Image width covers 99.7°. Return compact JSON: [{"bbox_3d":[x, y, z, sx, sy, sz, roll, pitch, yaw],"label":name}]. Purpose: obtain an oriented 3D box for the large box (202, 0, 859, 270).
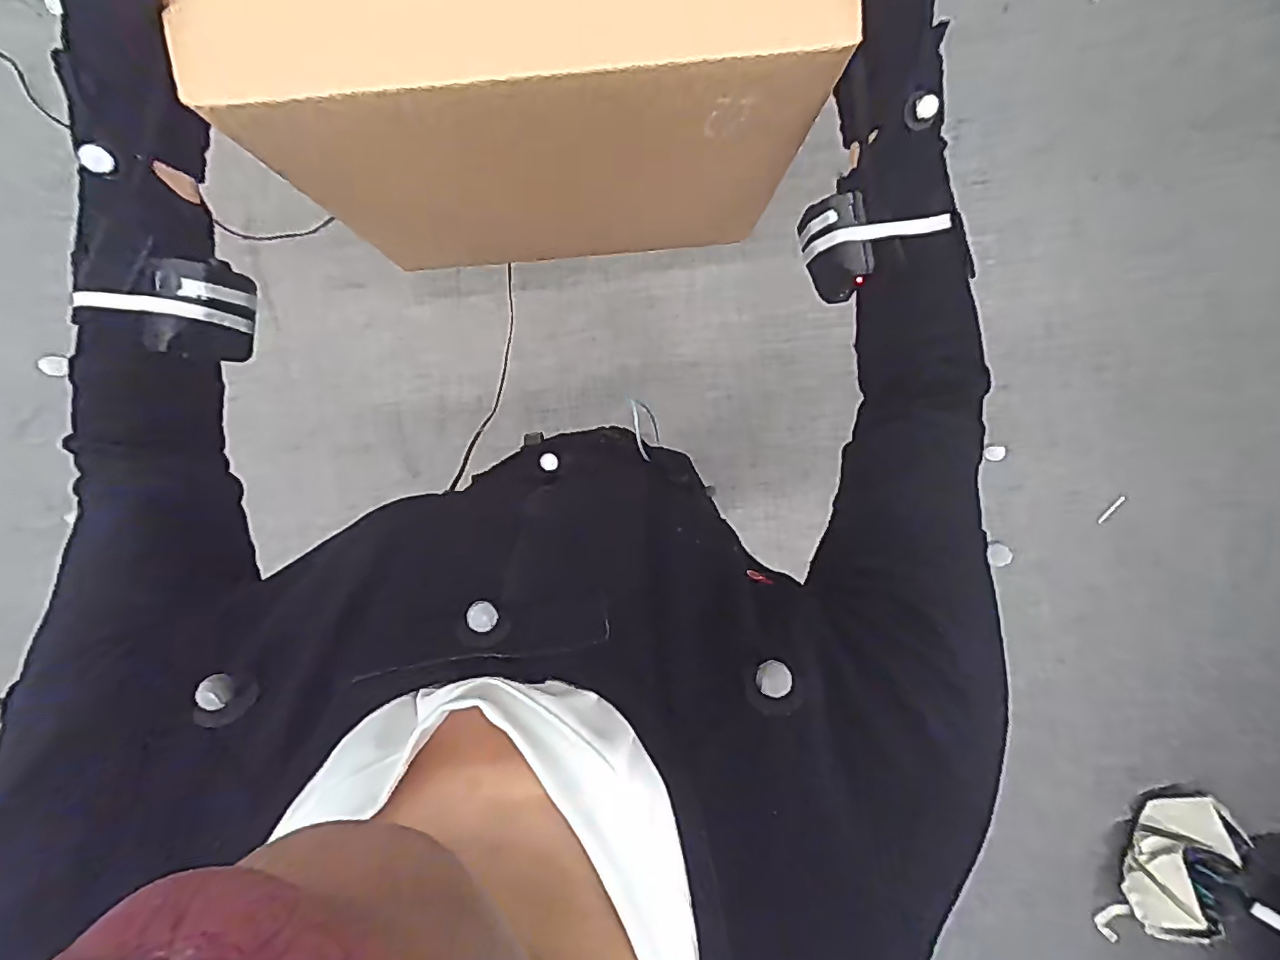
[{"bbox_3d":[-0.081,-0.405,0.473,0.408,0.320,0.320,-6,94,-2],"label":"large box"}]
